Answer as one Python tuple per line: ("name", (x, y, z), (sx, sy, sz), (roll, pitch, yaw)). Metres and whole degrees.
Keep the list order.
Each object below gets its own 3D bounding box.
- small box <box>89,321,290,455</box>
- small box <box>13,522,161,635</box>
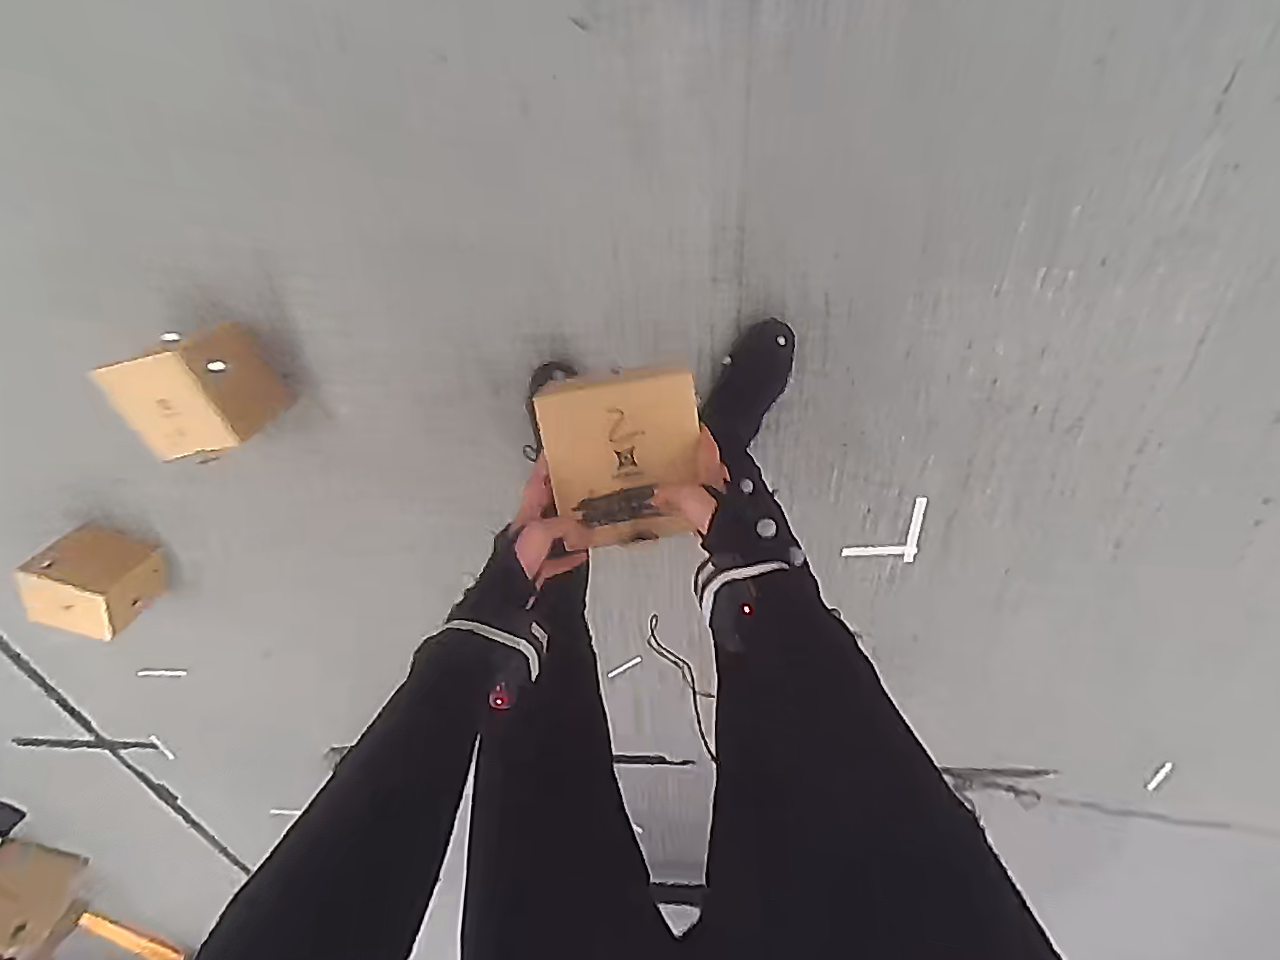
("small box", (-0.779, -0.170, 0.959), (0.168, 0.176, 0.179), (-9, 123, 9))
("small box", (-1.257, 0.223, 1.251), (0.179, 0.176, 0.168), (21, 122, -10))
